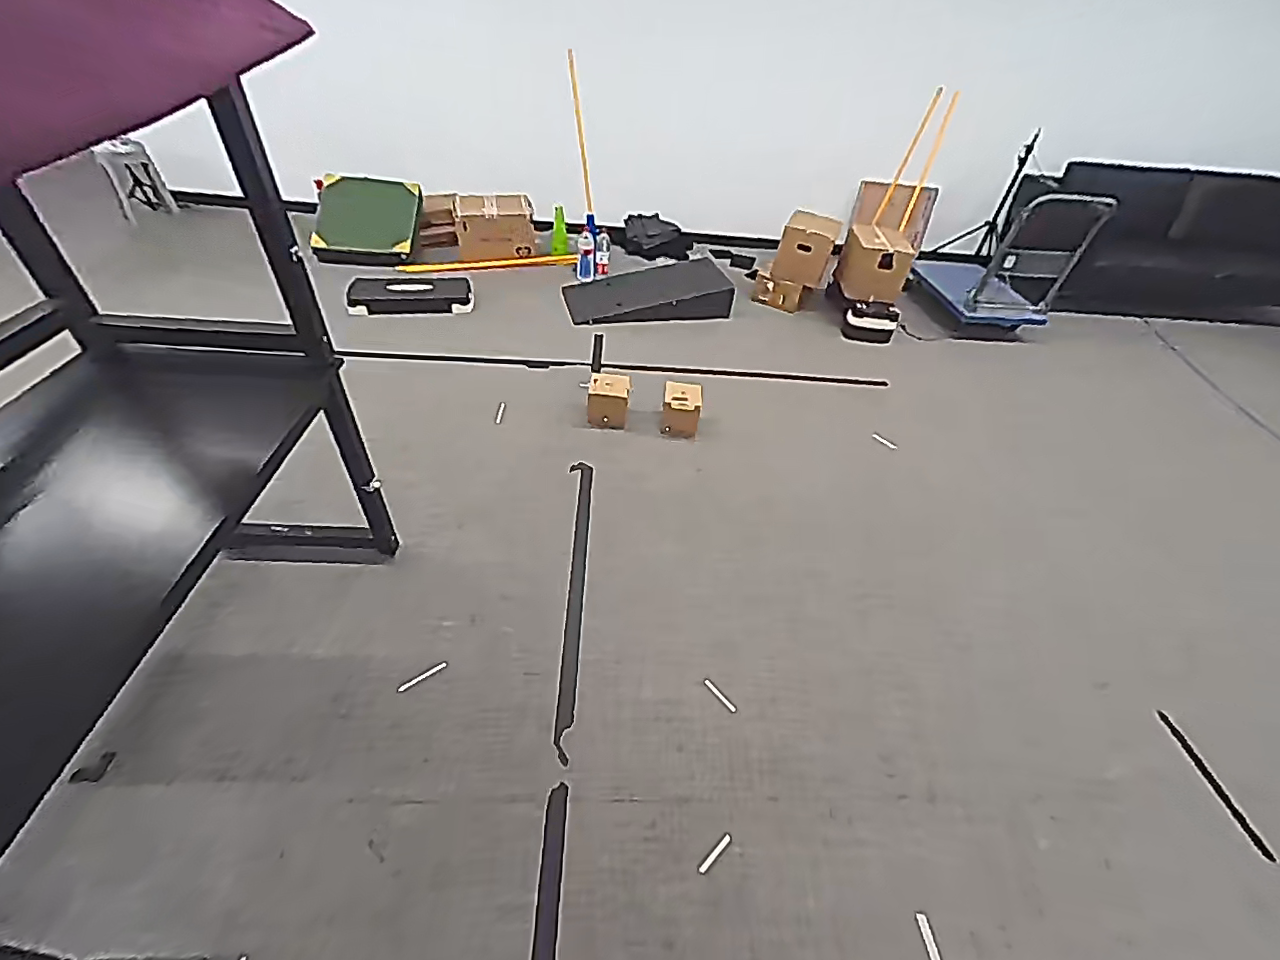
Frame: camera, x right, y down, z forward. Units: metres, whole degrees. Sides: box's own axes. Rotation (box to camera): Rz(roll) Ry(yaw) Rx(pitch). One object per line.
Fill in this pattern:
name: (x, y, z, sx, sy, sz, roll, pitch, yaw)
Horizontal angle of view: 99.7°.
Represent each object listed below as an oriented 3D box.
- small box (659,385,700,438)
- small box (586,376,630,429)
small box: (0.181, -0.313, 2.478, 0.168, 0.176, 0.179, 7, 42, 0)
small box: (-0.149, -0.352, 2.471, 0.179, 0.176, 0.168, 7, 42, -1)
